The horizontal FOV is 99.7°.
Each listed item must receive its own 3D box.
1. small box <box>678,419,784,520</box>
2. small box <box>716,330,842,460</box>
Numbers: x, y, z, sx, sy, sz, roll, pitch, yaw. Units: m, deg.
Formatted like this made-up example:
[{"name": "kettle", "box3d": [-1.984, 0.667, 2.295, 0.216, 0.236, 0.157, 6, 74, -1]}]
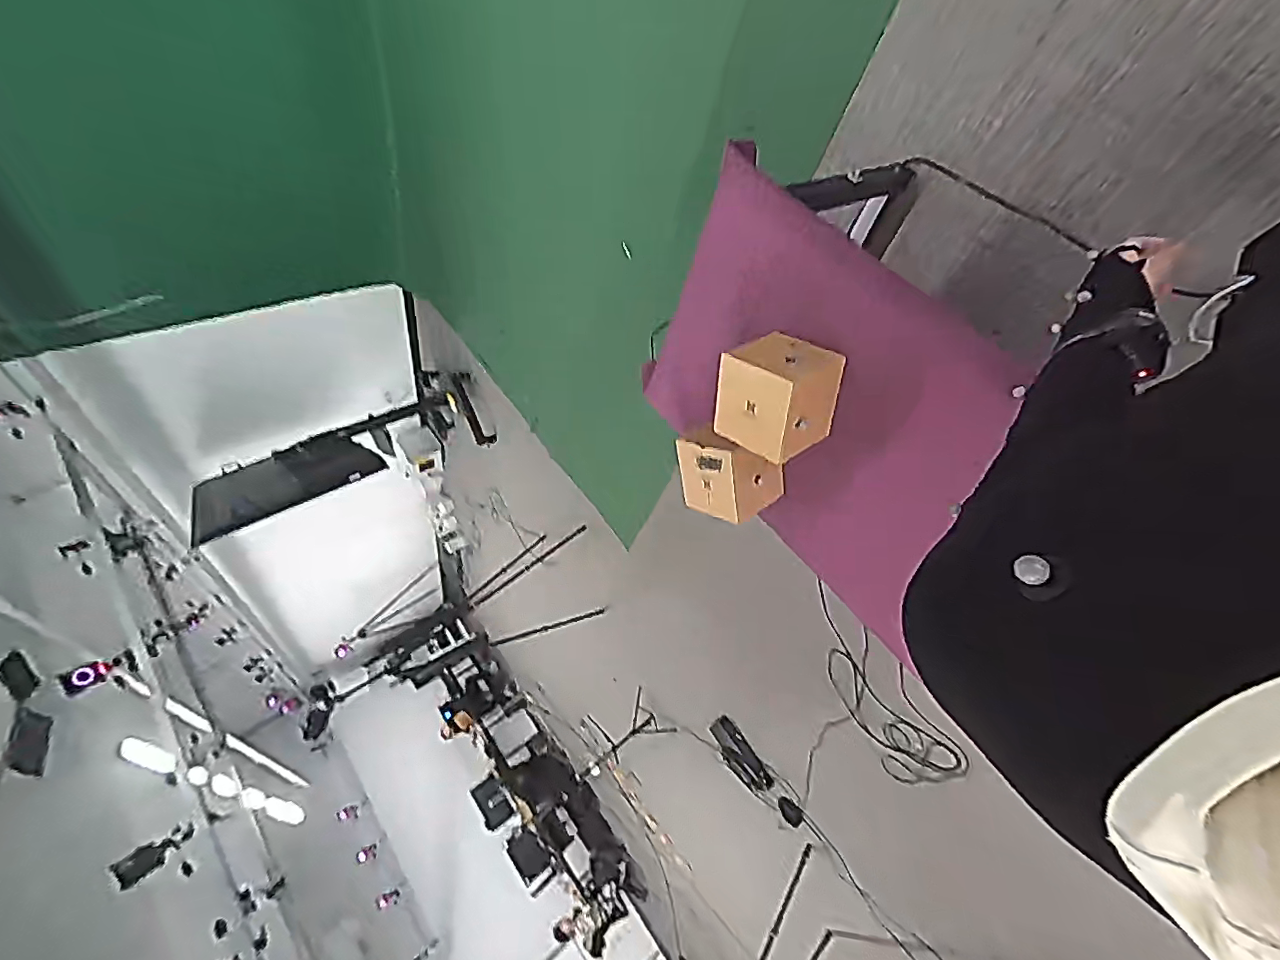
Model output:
[{"name": "small box", "box3d": [0.212, -0.038, 1.237, 0.168, 0.176, 0.179, 19, 130, 47]}, {"name": "small box", "box3d": [0.270, -0.174, 1.055, 0.168, 0.176, 0.179, 33, 140, 37]}]
